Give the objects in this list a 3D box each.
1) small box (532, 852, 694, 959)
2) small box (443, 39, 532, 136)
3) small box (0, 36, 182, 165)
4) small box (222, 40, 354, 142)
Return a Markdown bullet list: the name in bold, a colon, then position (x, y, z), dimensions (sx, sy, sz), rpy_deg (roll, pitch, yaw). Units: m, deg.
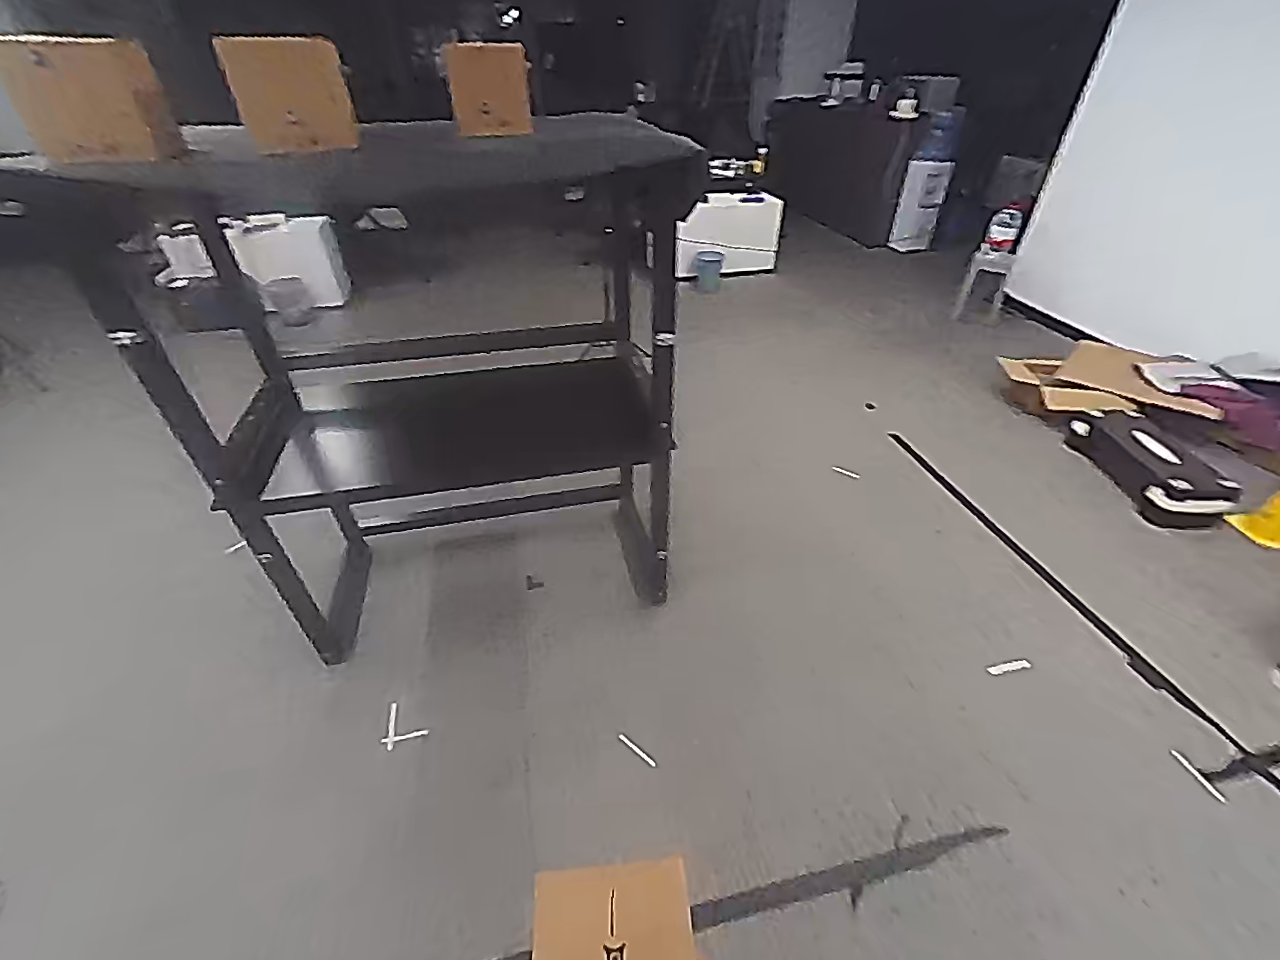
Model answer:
- **small box**: position (-0.027, 0.534, 0.603), dimensions (0.168, 0.176, 0.179), rpy_deg (-4, 51, -4)
- **small box**: position (-0.344, -0.897, 1.235), dimensions (0.168, 0.176, 0.179), rpy_deg (-8, 40, -9)
- **small box**: position (-0.939, -0.651, 0.931), dimensions (0.168, 0.176, 0.179), rpy_deg (-13, 41, -15)
- **small box**: position (-0.739, -0.835, 1.162), dimensions (0.168, 0.176, 0.179), rpy_deg (-6, 40, -8)
